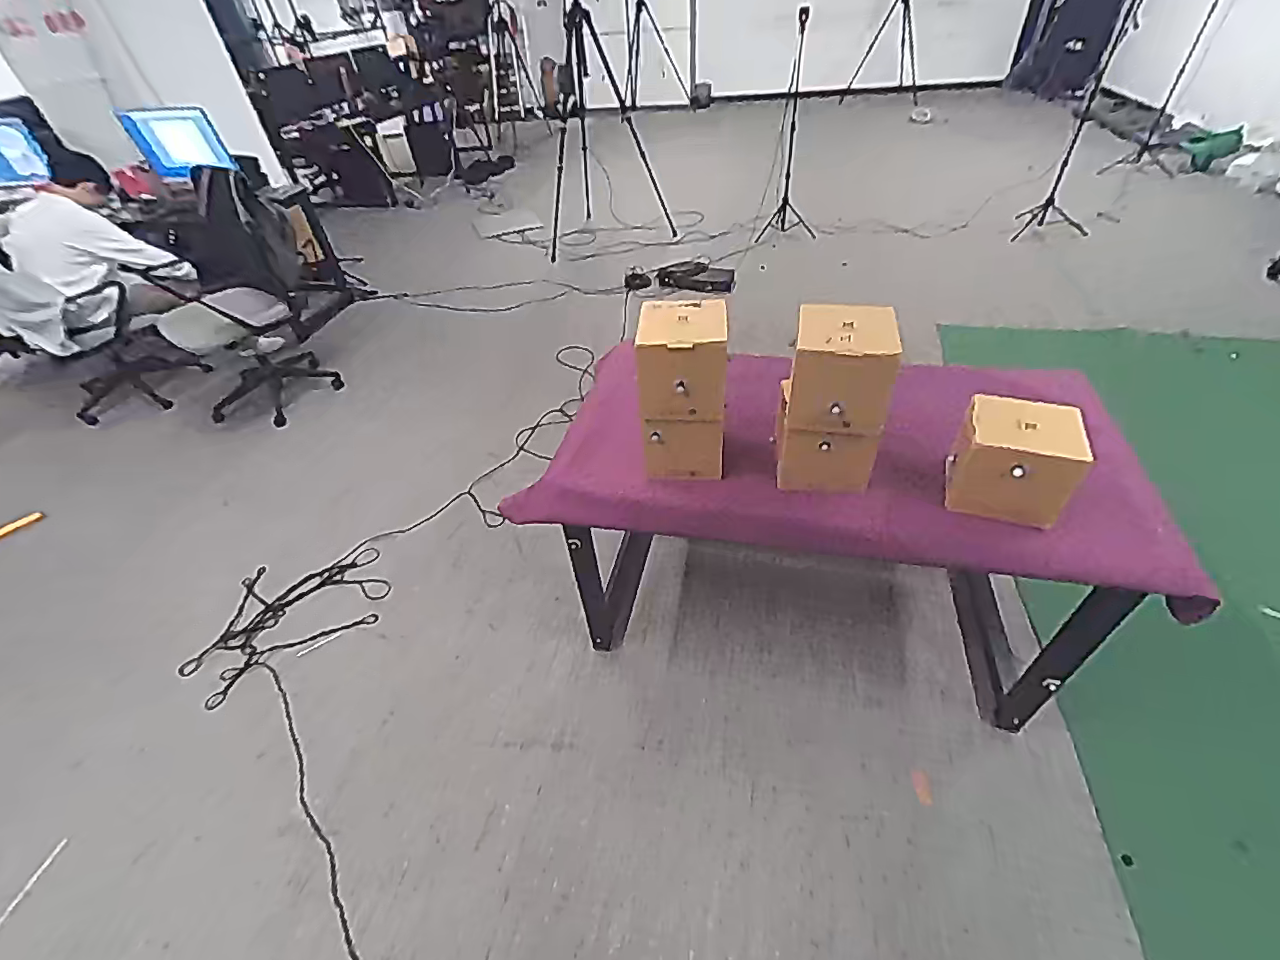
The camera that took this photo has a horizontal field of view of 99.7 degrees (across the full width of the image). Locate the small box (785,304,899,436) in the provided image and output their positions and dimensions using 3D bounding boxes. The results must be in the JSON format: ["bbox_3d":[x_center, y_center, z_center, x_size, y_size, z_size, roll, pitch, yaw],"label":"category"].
[{"bbox_3d":[0.362,-0.205,0.995,0.168,0.176,0.179,7,44,13],"label":"small box"}]

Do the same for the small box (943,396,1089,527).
[{"bbox_3d":[0.694,-0.033,1.016,0.179,0.176,0.168,12,44,21],"label":"small box"}]

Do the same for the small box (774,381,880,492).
[{"bbox_3d":[0.372,-0.090,1.113,0.179,0.176,0.168,2,43,8],"label":"small box"}]

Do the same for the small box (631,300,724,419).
[{"bbox_3d":[0.079,-0.233,1.055,0.168,0.176,0.179,2,44,7],"label":"small box"}]
